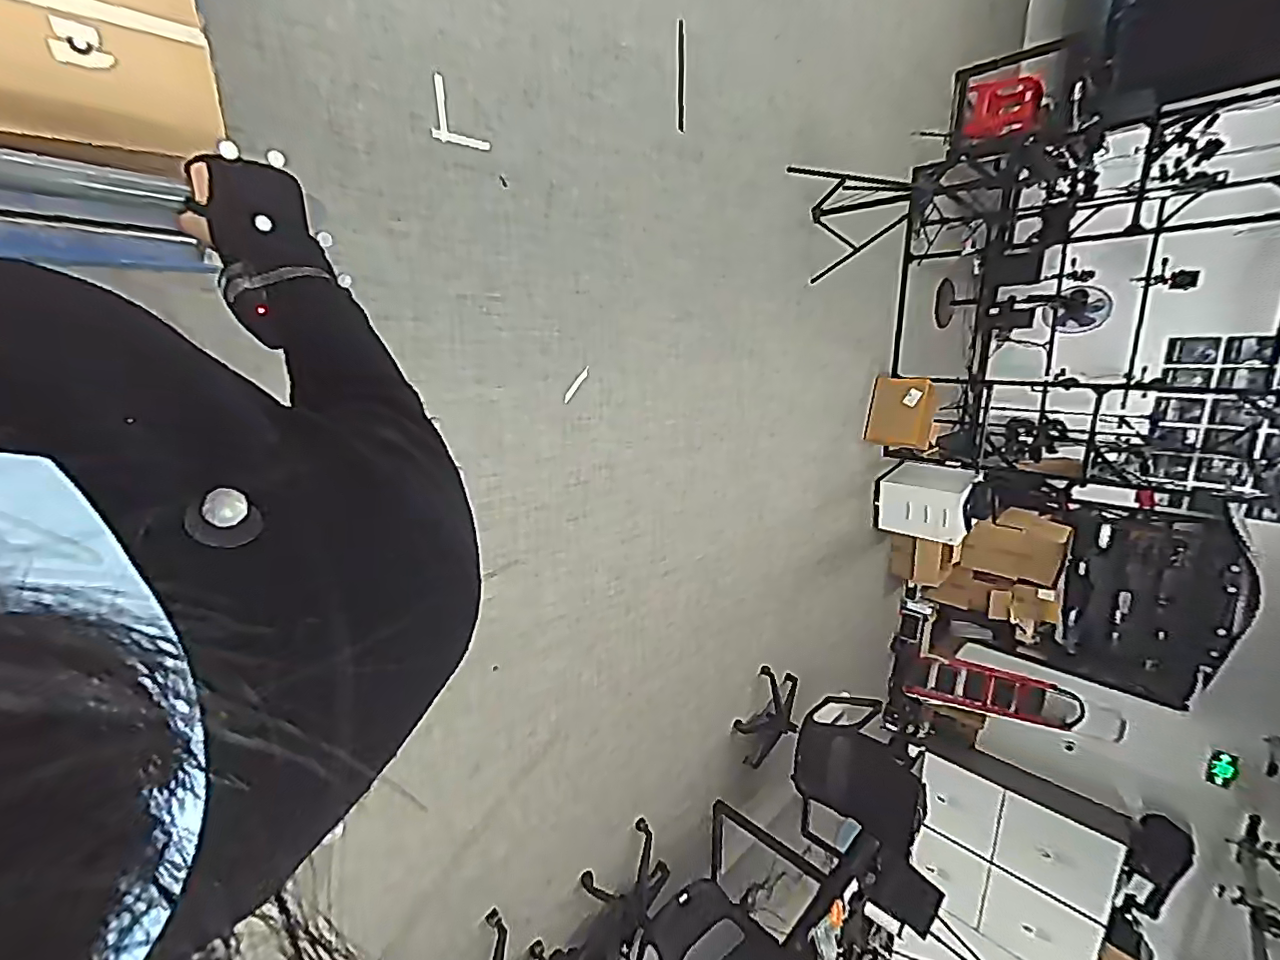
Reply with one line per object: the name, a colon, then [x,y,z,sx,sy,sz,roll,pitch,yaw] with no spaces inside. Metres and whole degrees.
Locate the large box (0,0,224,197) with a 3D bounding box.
large box: [-0.873,-0.602,0.729,0.408,0.320,0.320,-18,113,-44]
